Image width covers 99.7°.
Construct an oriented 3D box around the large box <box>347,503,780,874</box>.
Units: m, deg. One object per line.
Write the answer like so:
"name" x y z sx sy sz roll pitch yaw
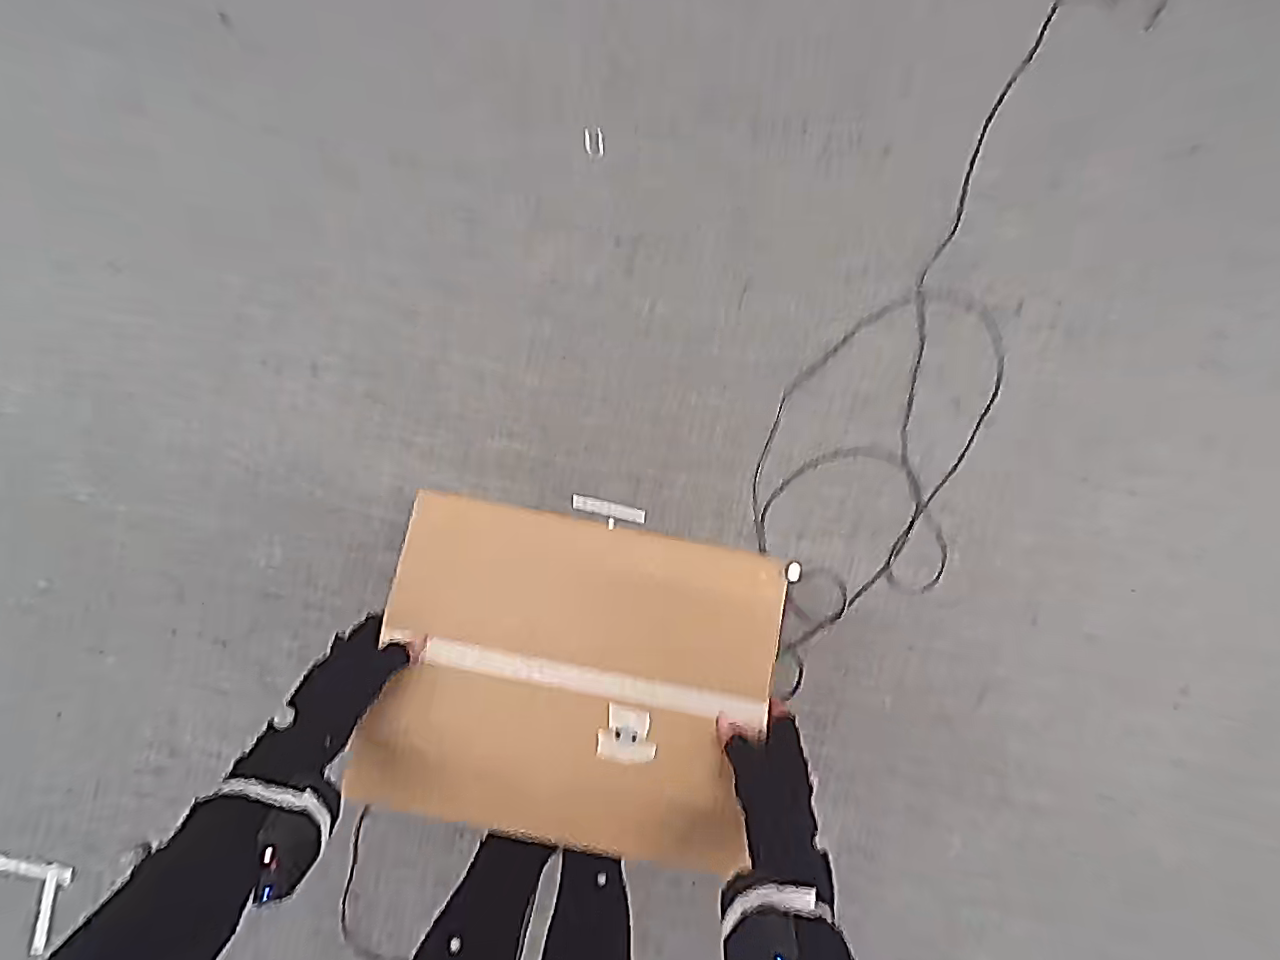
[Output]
"large box" -0.075 0.233 0.704 0.408 0.320 0.320 11 80 0
